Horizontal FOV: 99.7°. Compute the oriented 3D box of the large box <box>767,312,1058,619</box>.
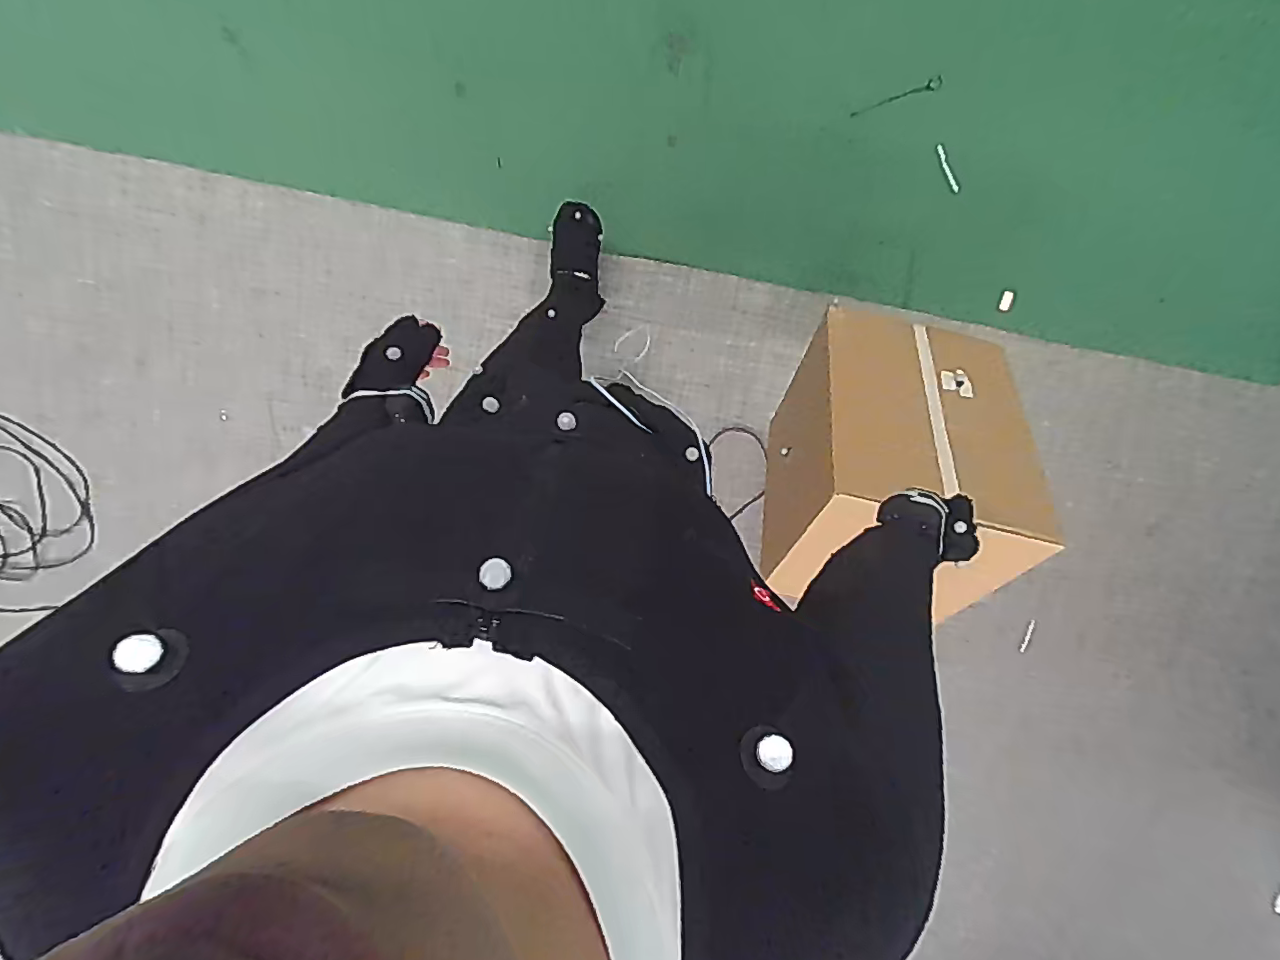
[{"bbox_3d":[0.420,-0.020,0.948,0.320,0.408,0.320,13,144,0],"label":"large box"}]
